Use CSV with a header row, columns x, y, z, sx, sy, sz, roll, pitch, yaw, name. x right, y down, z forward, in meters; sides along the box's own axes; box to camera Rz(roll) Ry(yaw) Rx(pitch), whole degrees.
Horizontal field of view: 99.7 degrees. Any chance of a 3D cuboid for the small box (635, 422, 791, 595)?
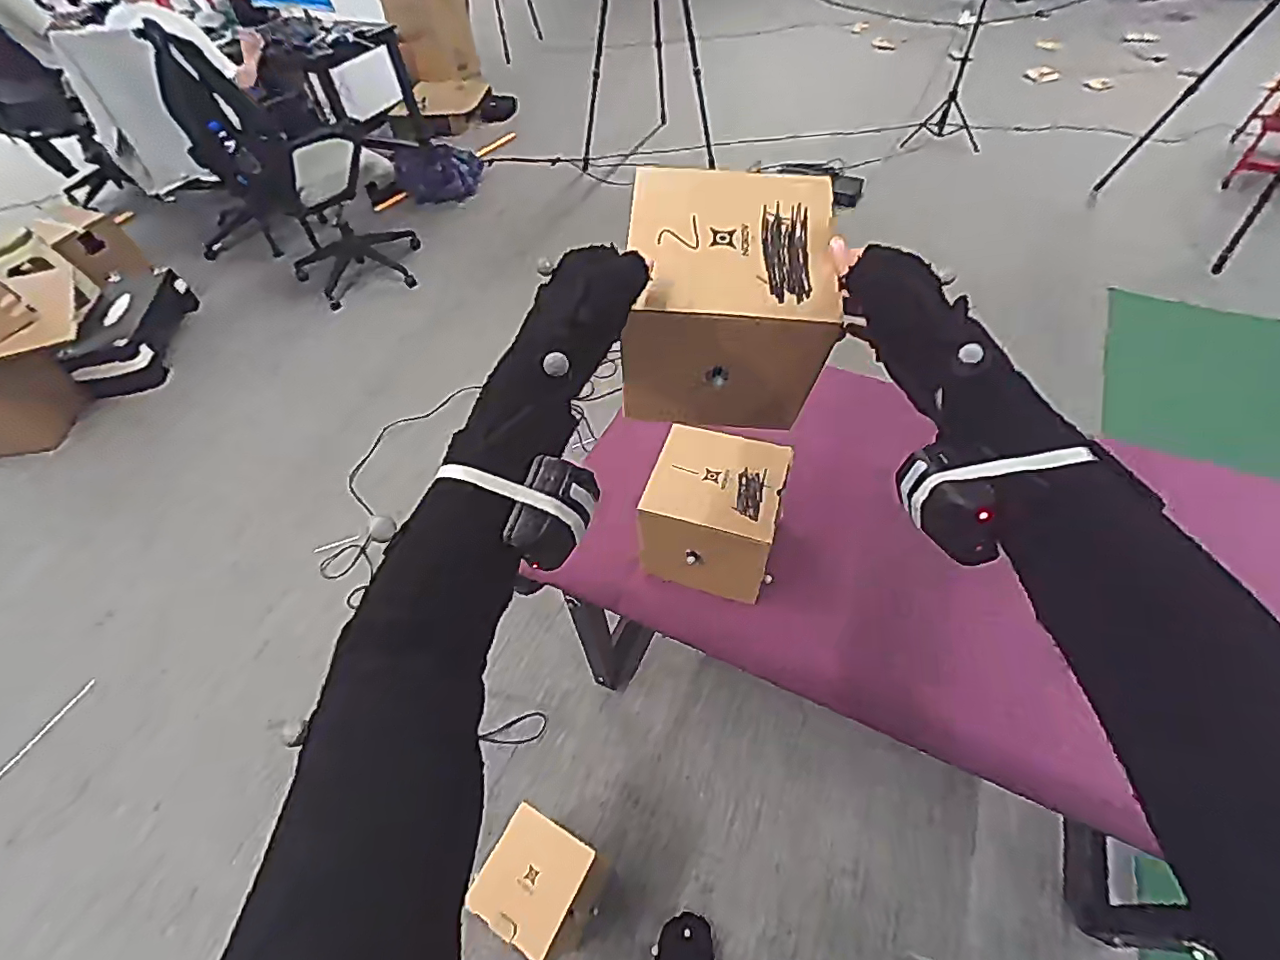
x,y,z,sx,sy,sz,roll,pitch,yaw,name
0.104,0.046,0.788,0.179,0.176,0.168,15,53,14,small box
